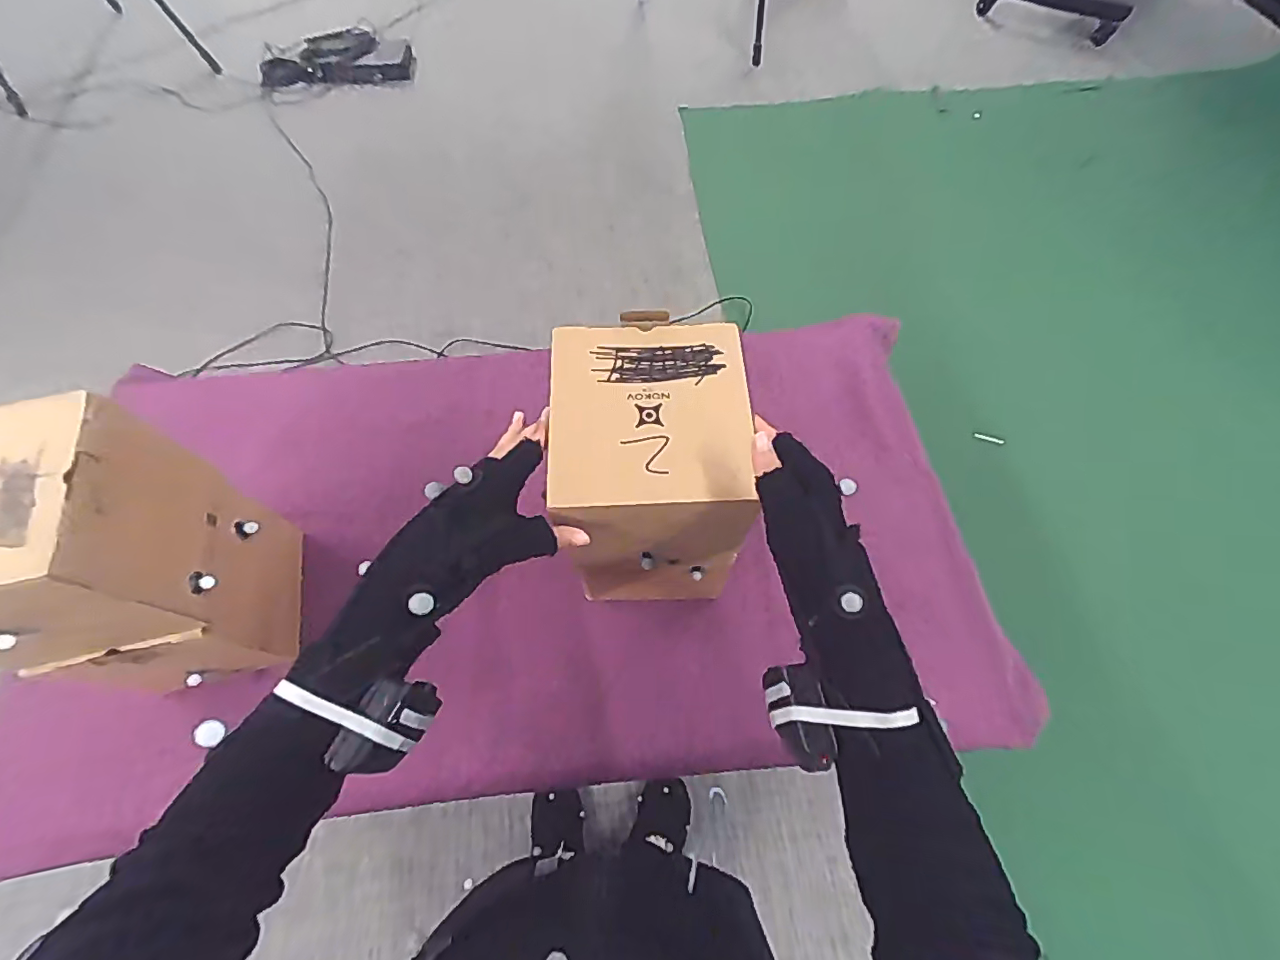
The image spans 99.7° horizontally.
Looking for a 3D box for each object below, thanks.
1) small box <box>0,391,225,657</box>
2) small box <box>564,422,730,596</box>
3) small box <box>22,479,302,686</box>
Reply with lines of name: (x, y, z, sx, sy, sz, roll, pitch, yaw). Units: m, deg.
small box: (-0.516, 0.047, 0.477, 0.179, 0.176, 0.168, -10, 62, -5)
small box: (0.008, 0.043, 0.664, 0.179, 0.176, 0.168, -1, 64, -1)
small box: (-0.521, 0.125, 0.625, 0.168, 0.176, 0.179, -12, 65, -5)
